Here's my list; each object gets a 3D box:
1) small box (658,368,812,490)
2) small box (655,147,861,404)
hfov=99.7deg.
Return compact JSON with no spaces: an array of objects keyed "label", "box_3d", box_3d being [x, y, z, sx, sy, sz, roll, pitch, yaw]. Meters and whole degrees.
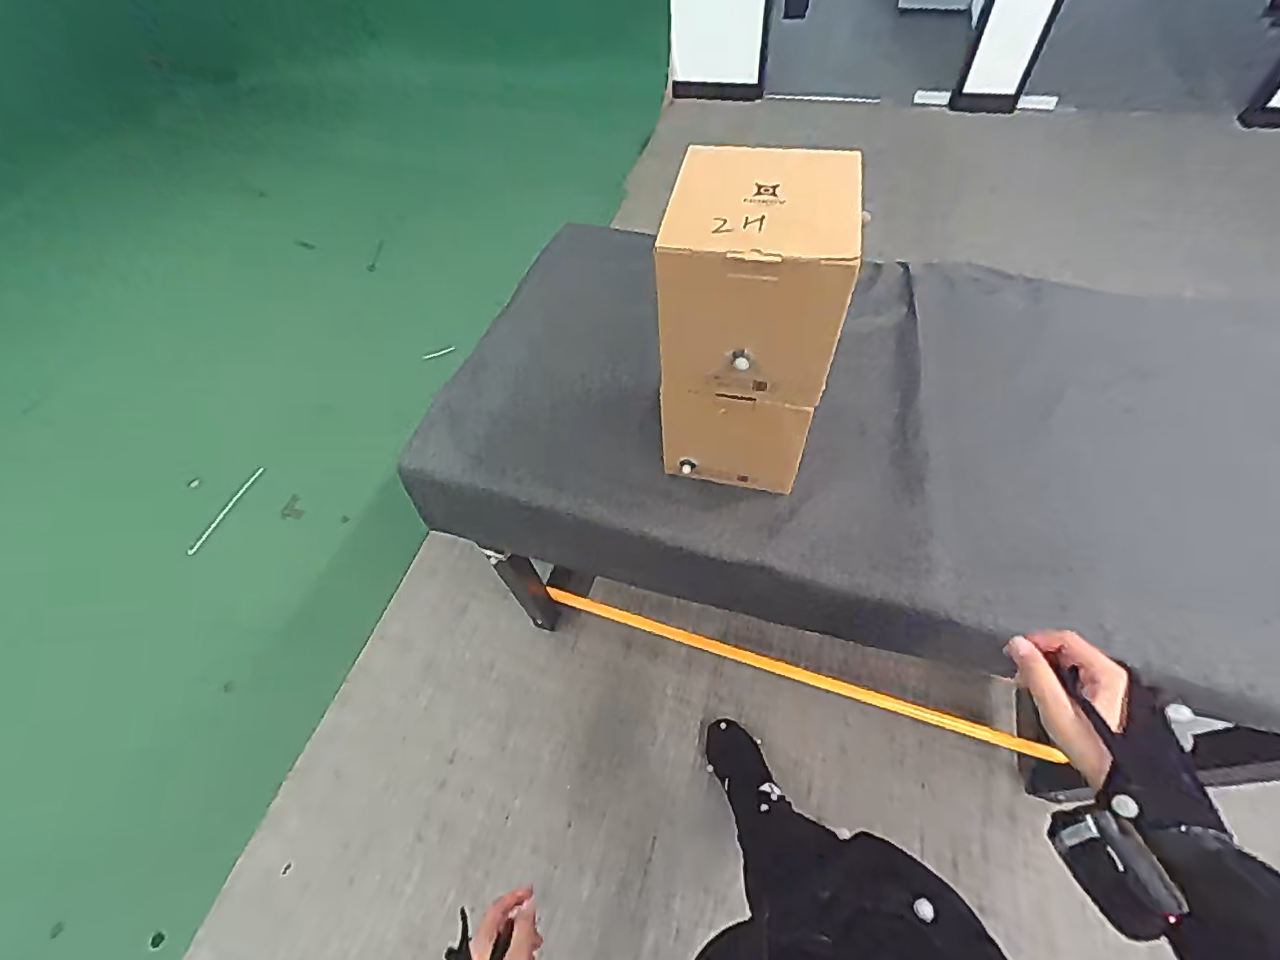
[{"label":"small box","box_3d":[0.126,-0.110,0.678,0.168,0.176,0.179,11,57,12]},{"label":"small box","box_3d":[0.115,-0.203,0.543,0.168,0.176,0.179,8,58,11]}]
